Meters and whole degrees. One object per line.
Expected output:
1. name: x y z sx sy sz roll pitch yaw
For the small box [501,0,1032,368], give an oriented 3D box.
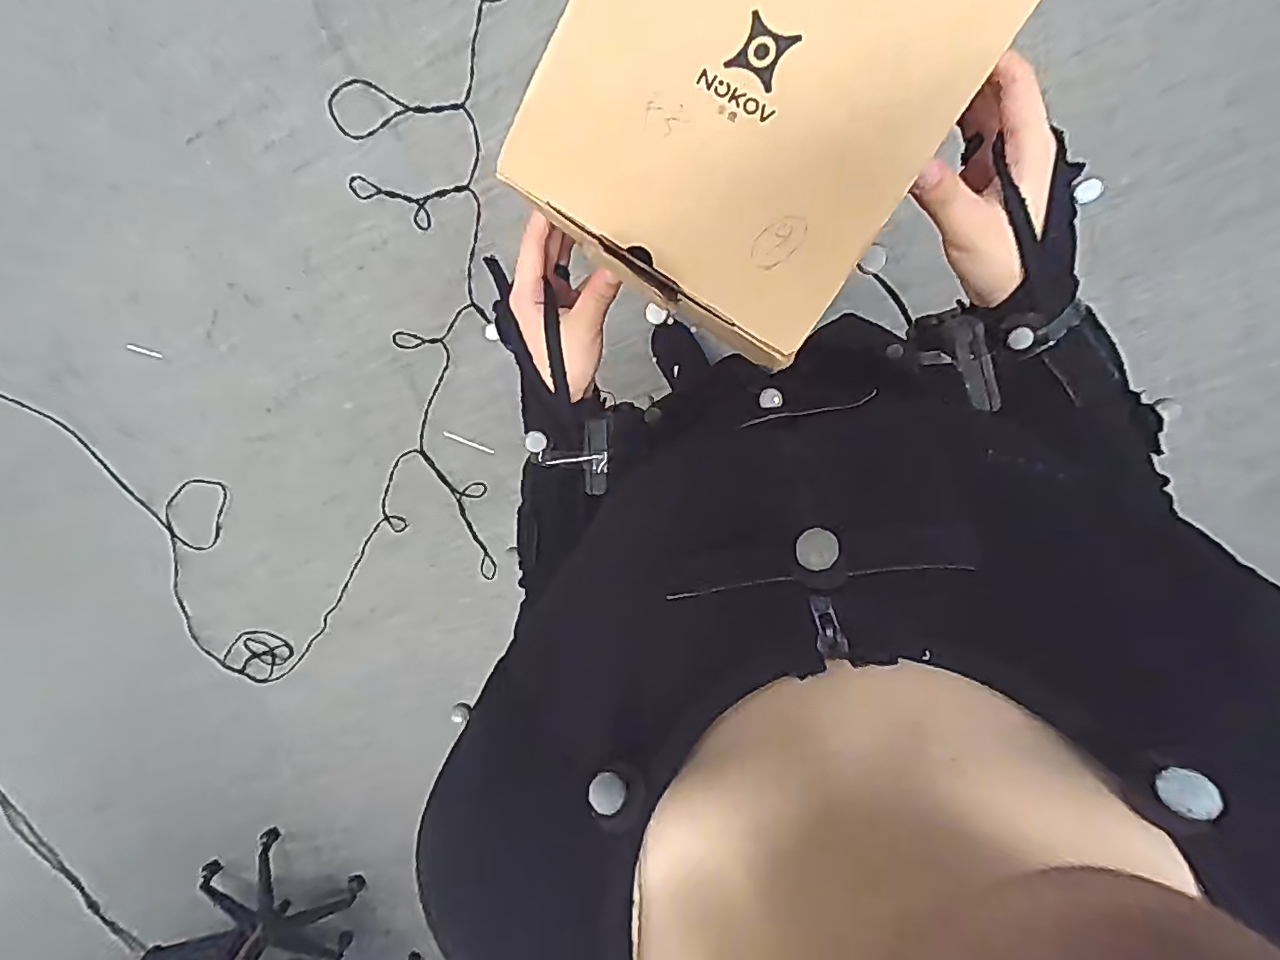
1. small box: 0.059 -0.179 0.310 0.168 0.176 0.179 34 105 4
